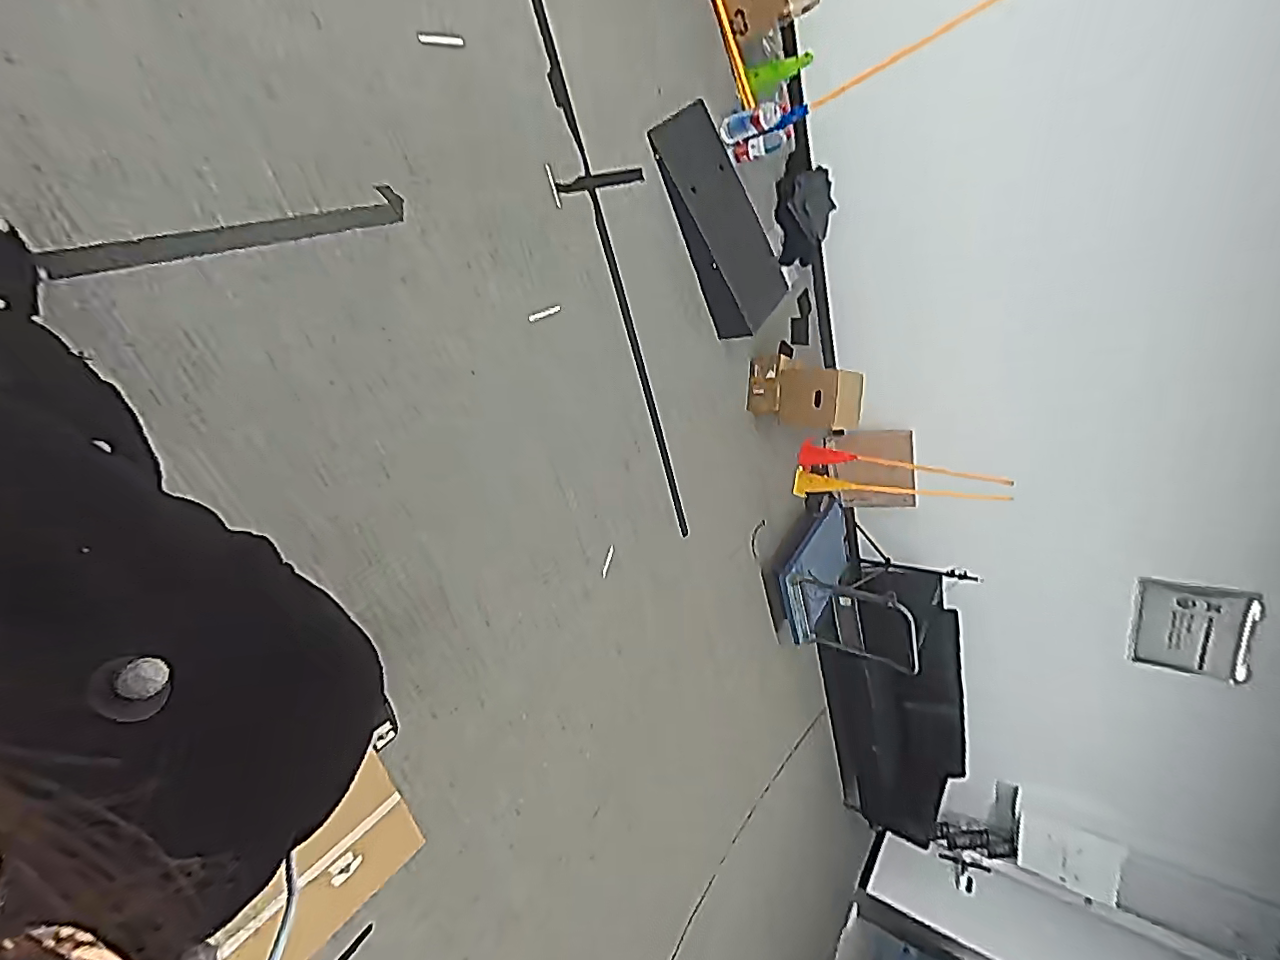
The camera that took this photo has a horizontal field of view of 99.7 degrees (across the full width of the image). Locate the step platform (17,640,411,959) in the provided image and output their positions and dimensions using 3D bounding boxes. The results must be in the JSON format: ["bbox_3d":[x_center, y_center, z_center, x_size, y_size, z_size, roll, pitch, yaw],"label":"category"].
[{"bbox_3d":[-0.887,0.675,1.228,0.684,0.204,0.286,-32,117,-44],"label":"step platform"}]
